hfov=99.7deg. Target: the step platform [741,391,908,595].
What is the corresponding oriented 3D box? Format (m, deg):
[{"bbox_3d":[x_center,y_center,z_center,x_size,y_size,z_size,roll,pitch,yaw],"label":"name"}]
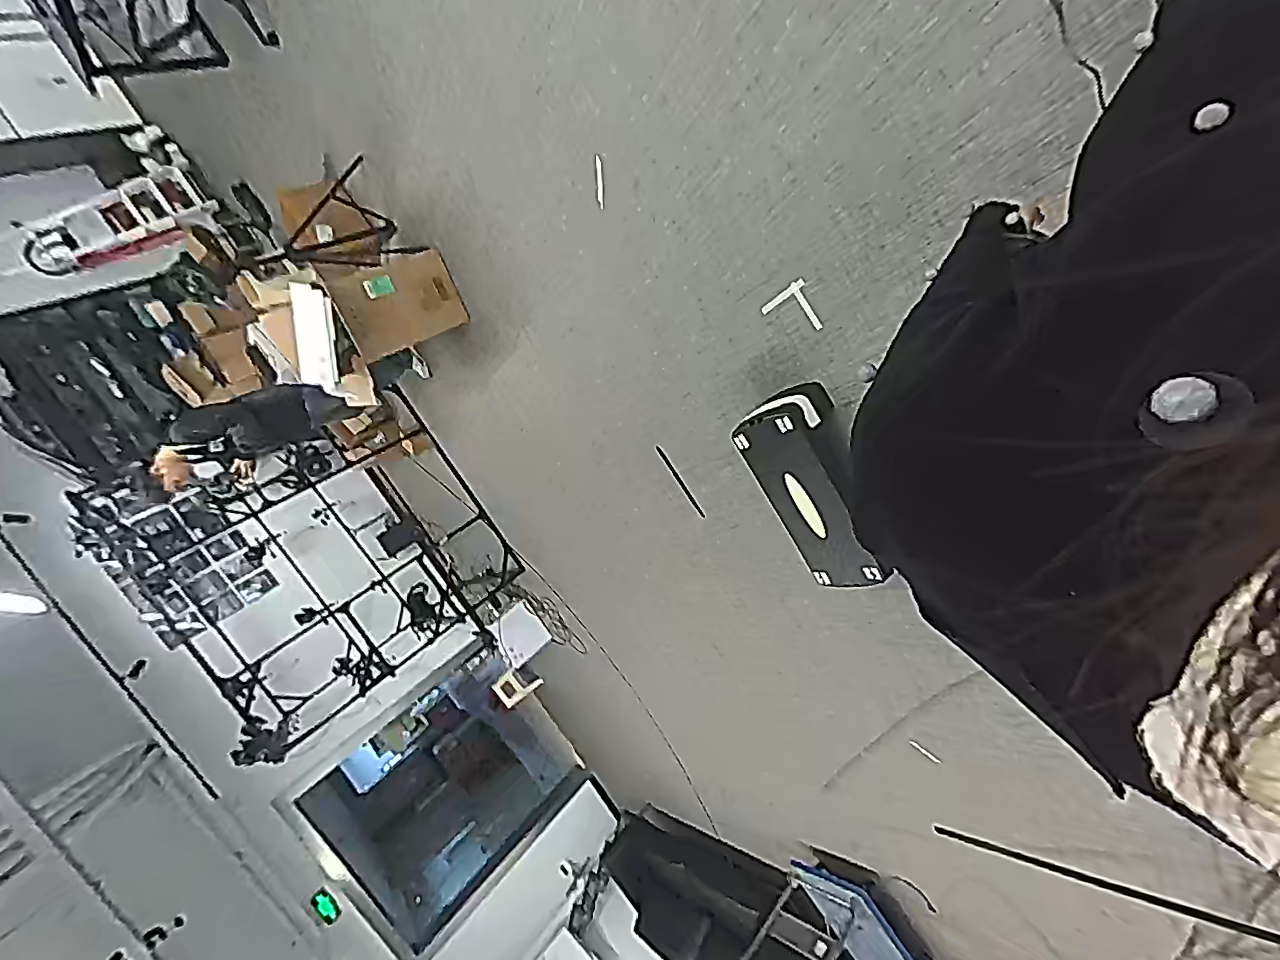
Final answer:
[{"bbox_3d":[0.612,0.063,1.796,0.286,0.204,0.684,-13,111,54],"label":"step platform"}]
